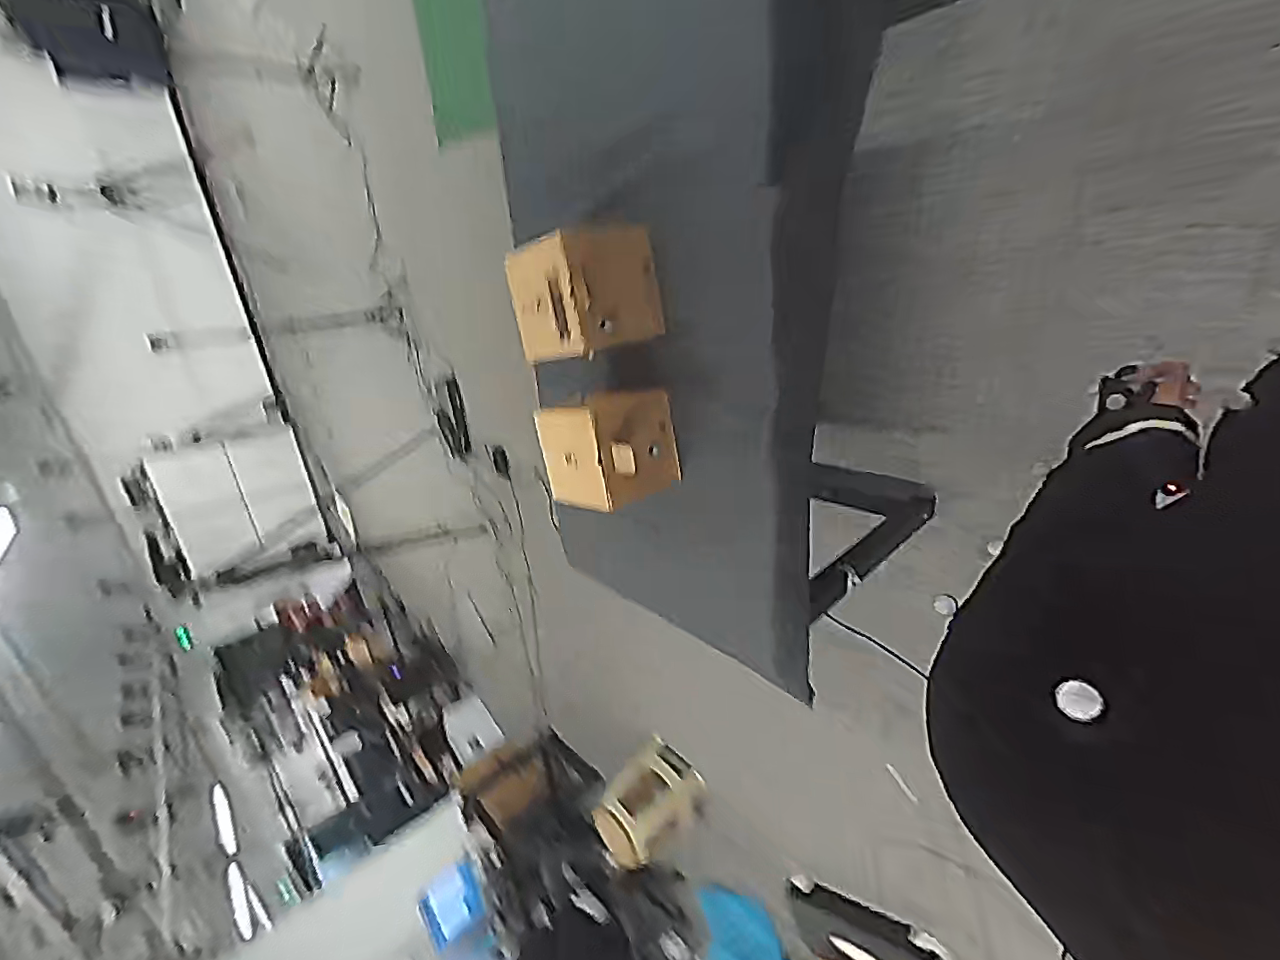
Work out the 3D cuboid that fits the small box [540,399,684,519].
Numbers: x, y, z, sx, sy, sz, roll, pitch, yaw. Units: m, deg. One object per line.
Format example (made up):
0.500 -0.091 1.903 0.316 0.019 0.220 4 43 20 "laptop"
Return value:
-0.048 -0.045 0.961 0.179 0.176 0.168 5 112 49 "small box"
